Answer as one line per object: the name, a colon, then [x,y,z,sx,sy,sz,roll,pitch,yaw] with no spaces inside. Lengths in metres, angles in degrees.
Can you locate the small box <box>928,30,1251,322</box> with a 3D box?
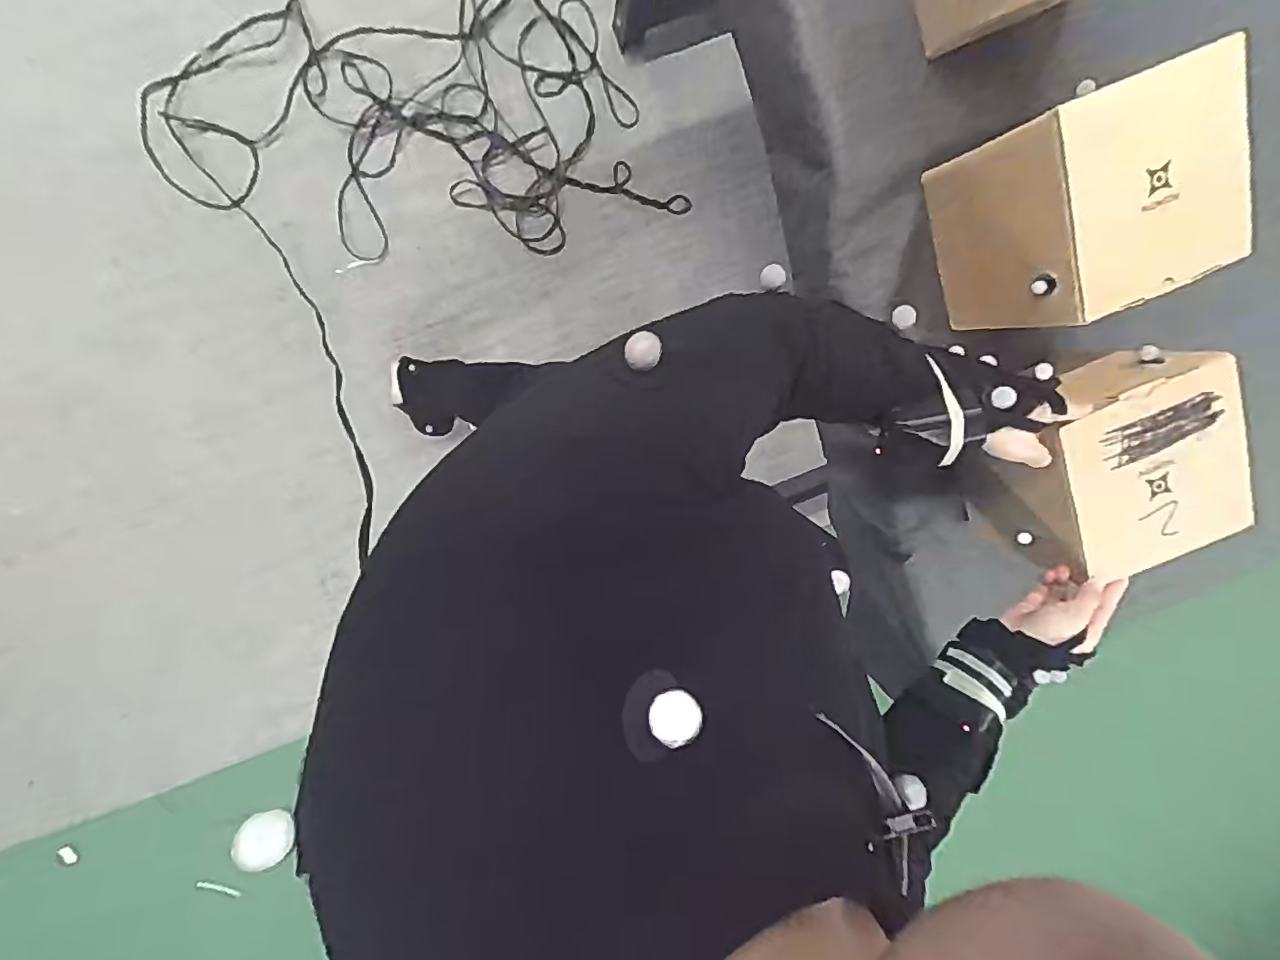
small box: [0.410,-0.265,0.518,0.168,0.176,0.179,-23,107,-2]

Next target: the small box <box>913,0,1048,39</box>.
small box: [0.336,-0.514,0.445,0.168,0.176,0.179,-25,105,-3]
